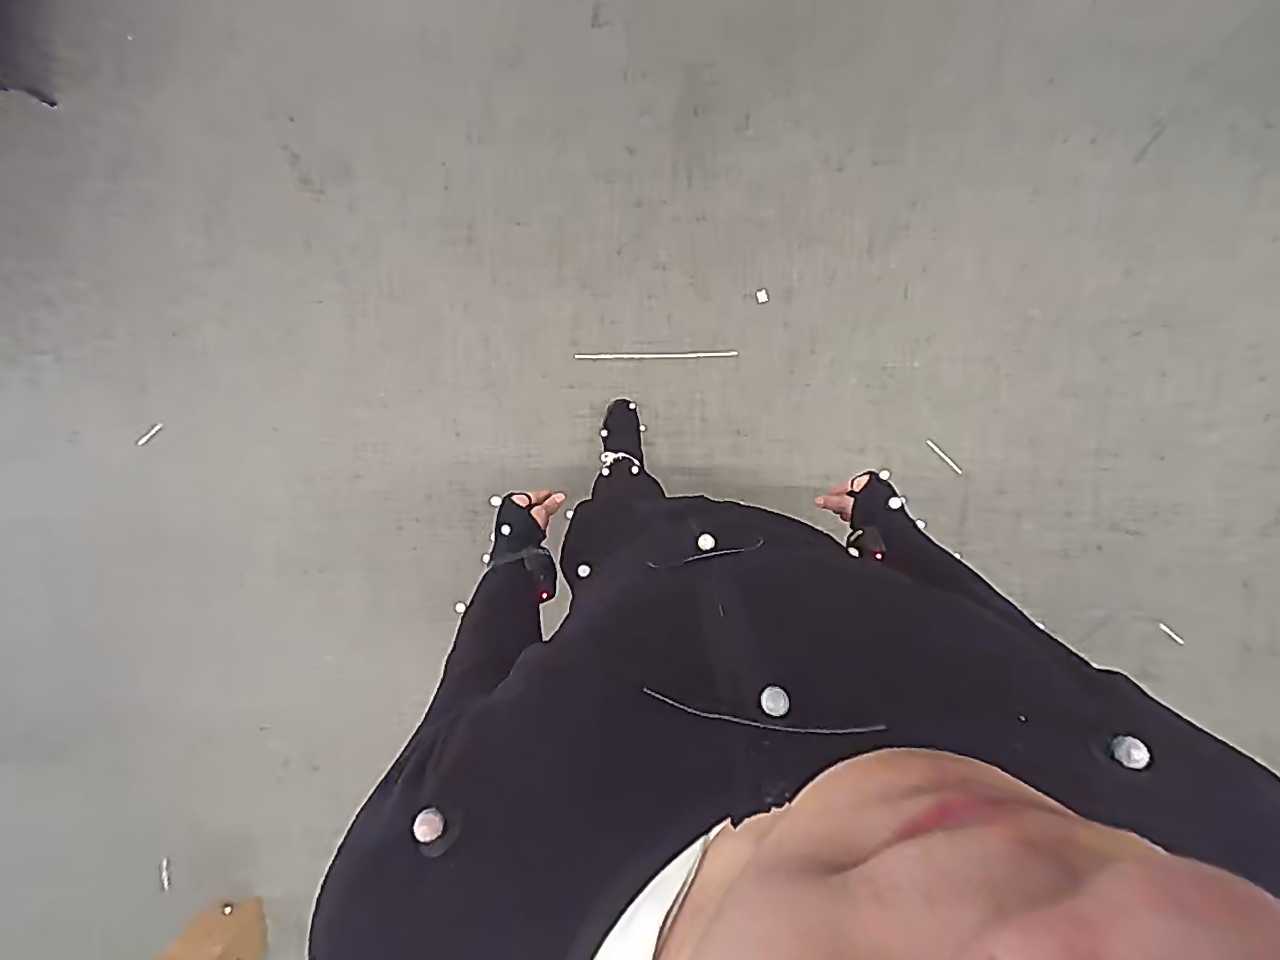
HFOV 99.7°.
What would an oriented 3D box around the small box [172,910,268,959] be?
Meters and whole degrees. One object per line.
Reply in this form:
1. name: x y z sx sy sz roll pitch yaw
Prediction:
1. small box: -1.275 1.468 1.652 0.168 0.176 0.179 -1 92 1
